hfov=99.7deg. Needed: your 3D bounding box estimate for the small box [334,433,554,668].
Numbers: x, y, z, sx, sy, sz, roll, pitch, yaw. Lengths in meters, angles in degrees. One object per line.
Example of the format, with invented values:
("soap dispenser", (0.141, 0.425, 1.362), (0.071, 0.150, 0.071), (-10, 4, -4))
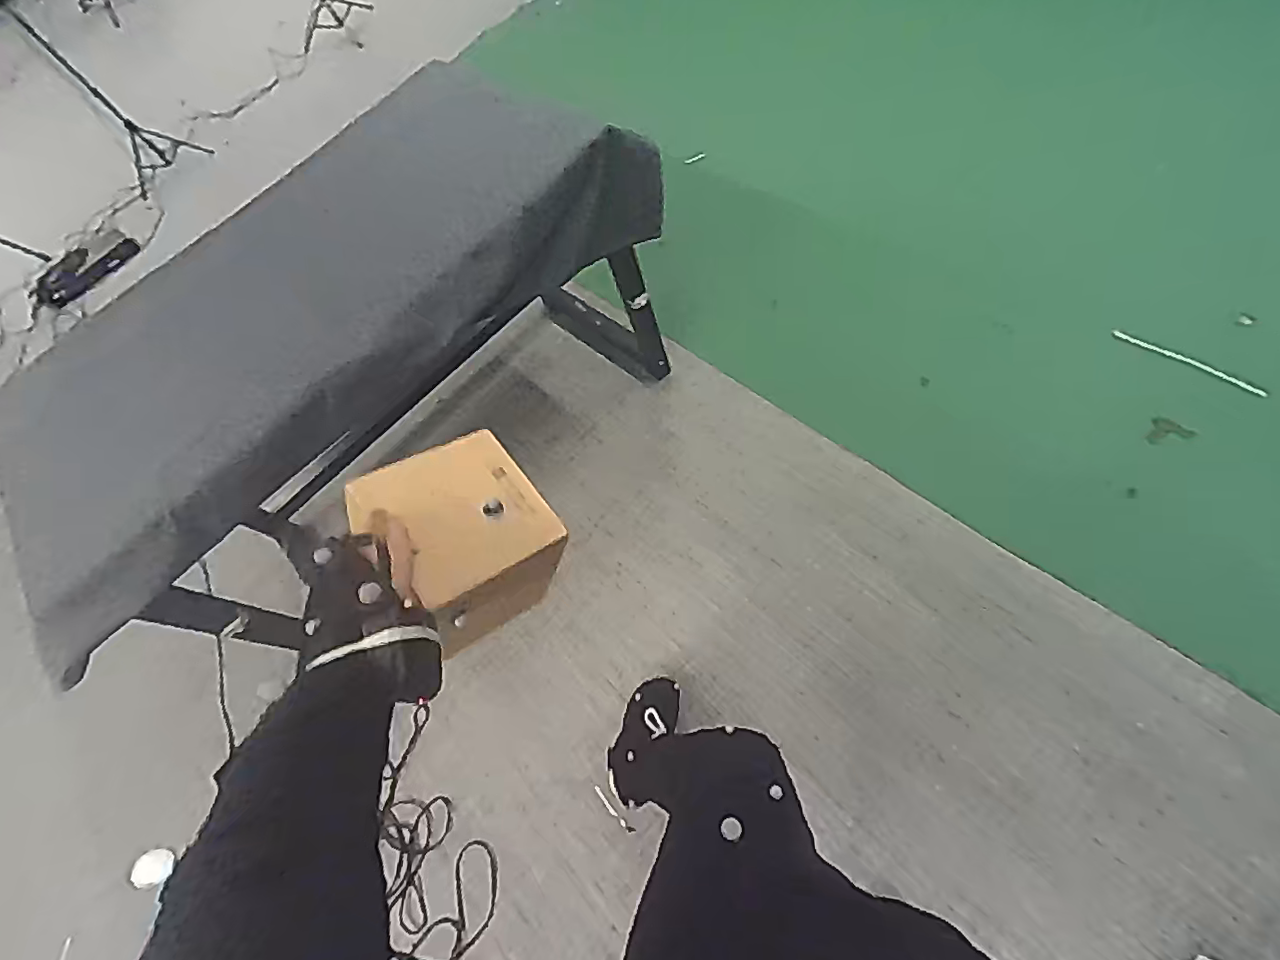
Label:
("small box", (-0.220, 0.077, 0.620), (0.176, 0.179, 0.168), (-28, 69, -37))
